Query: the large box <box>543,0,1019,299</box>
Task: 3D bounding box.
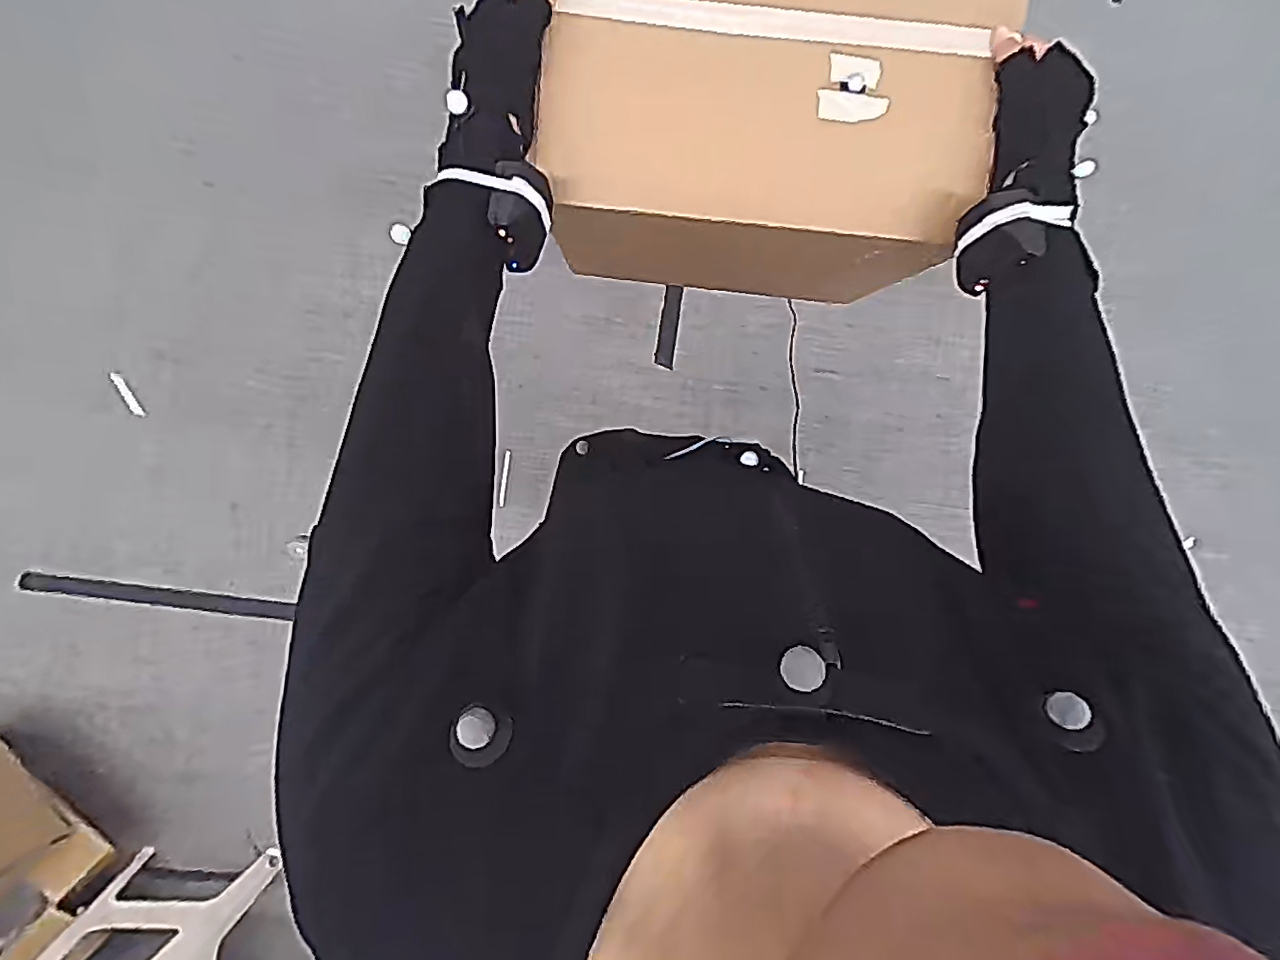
[{"bbox_3d":[0.119,-0.407,0.613,0.408,0.320,0.320,6,99,-2],"label":"large box"}]
